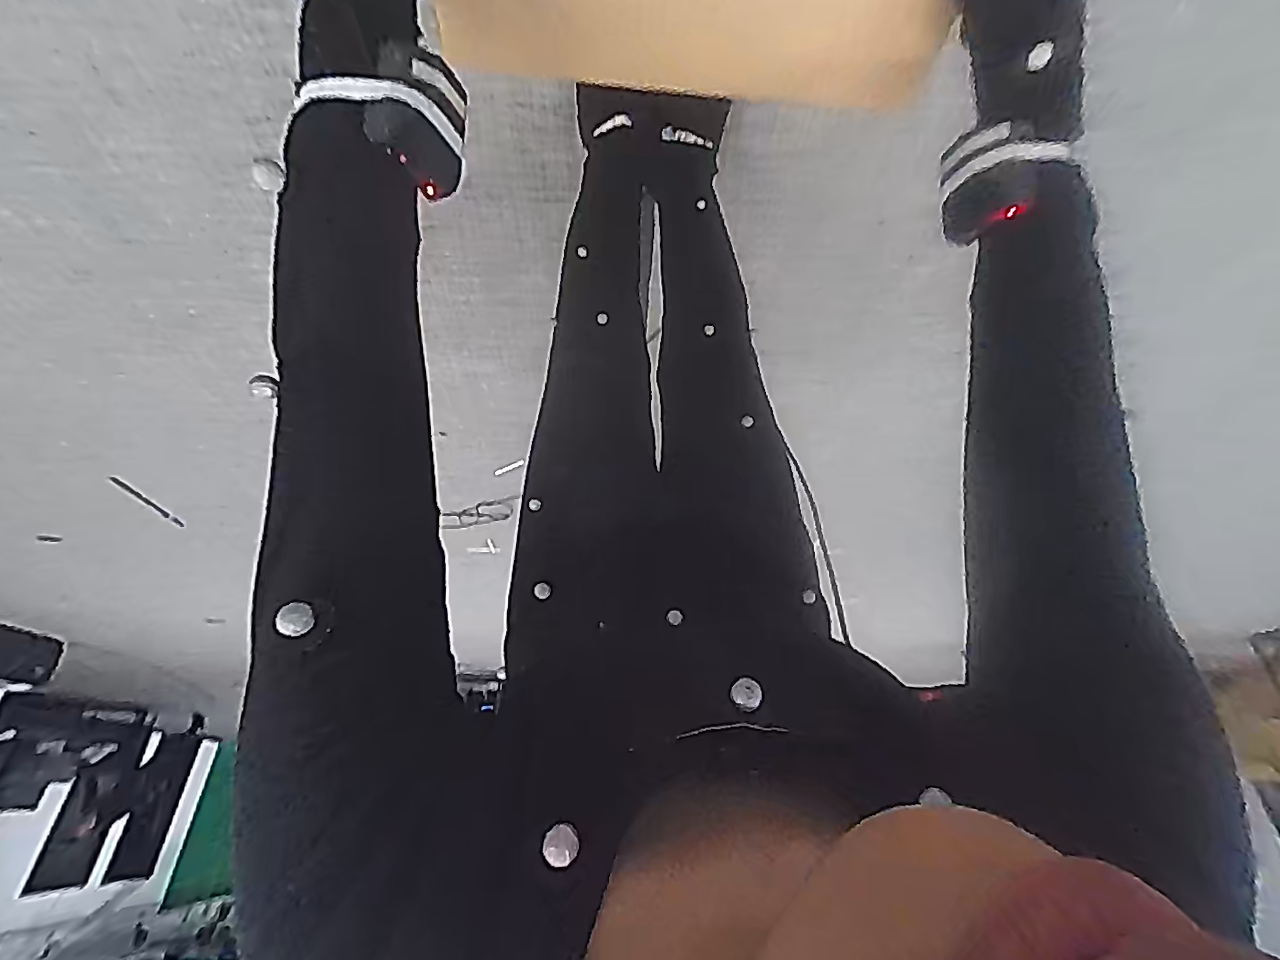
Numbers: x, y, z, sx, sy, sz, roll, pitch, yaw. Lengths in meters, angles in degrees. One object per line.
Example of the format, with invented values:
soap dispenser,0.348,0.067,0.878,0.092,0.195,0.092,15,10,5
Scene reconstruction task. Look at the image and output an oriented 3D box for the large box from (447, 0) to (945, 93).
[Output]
large box,0.048,-0.557,0.428,0.408,0.320,0.320,2,148,-4
